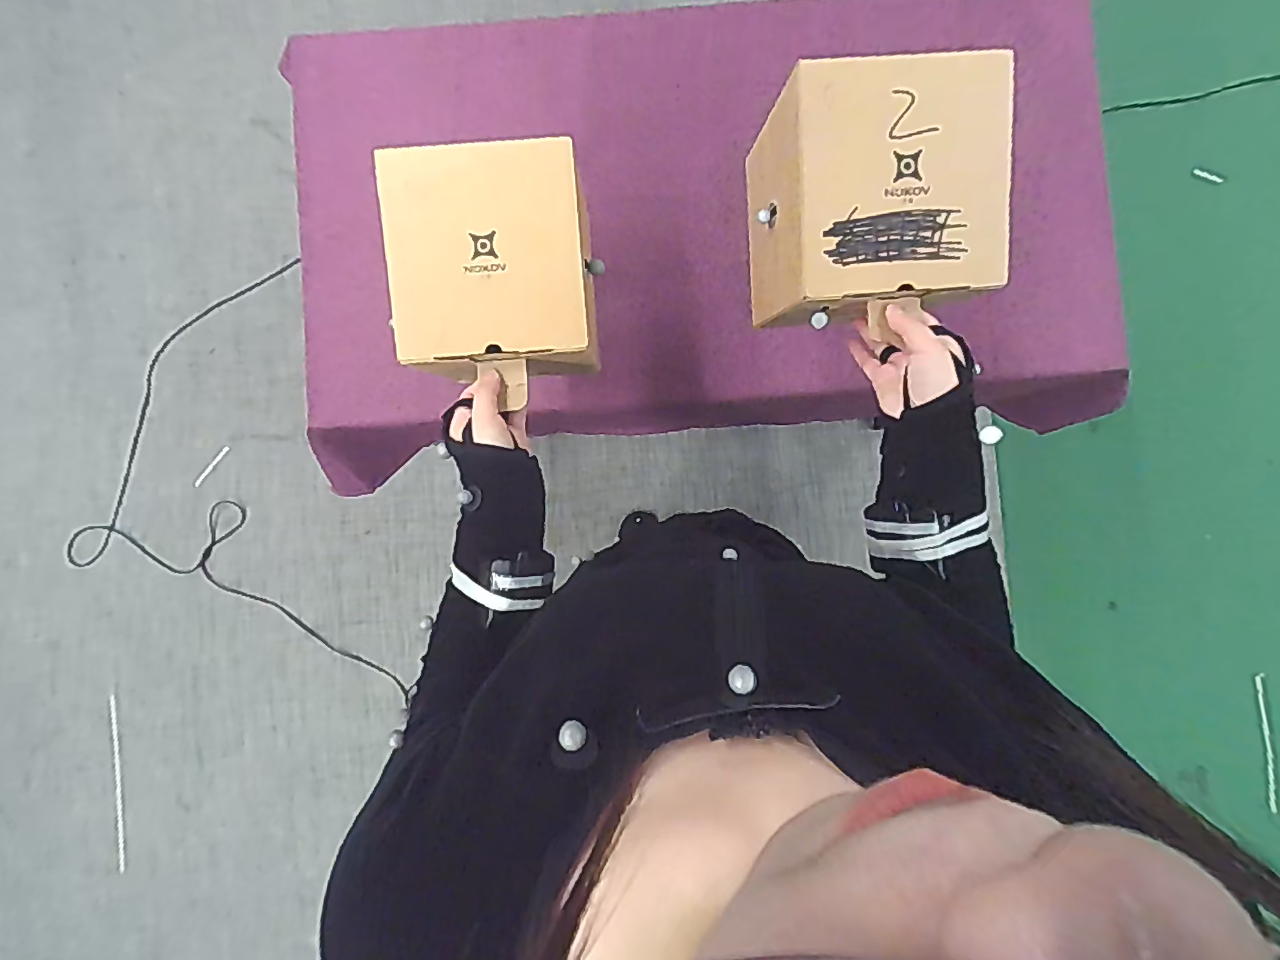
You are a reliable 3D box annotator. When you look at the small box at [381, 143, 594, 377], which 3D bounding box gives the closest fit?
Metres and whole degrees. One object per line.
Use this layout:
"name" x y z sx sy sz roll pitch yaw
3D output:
"small box" -0.137 -0.205 0.548 0.168 0.176 0.179 -4 96 -1
